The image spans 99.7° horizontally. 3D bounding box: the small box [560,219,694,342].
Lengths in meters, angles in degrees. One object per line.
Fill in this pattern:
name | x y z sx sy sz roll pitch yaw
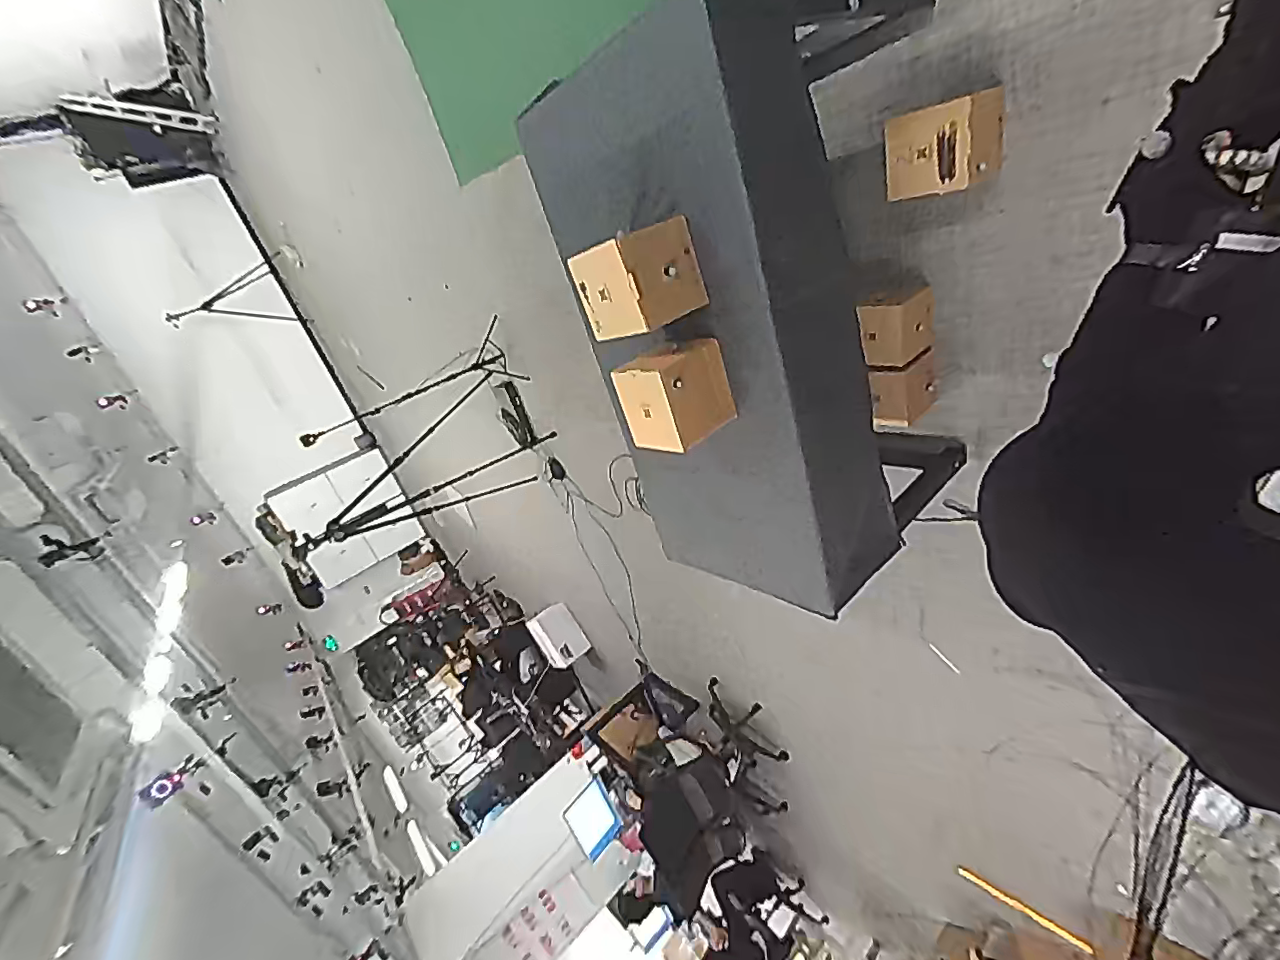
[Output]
small box | -0.016 -0.377 1.030 0.179 0.176 0.168 9 125 51
